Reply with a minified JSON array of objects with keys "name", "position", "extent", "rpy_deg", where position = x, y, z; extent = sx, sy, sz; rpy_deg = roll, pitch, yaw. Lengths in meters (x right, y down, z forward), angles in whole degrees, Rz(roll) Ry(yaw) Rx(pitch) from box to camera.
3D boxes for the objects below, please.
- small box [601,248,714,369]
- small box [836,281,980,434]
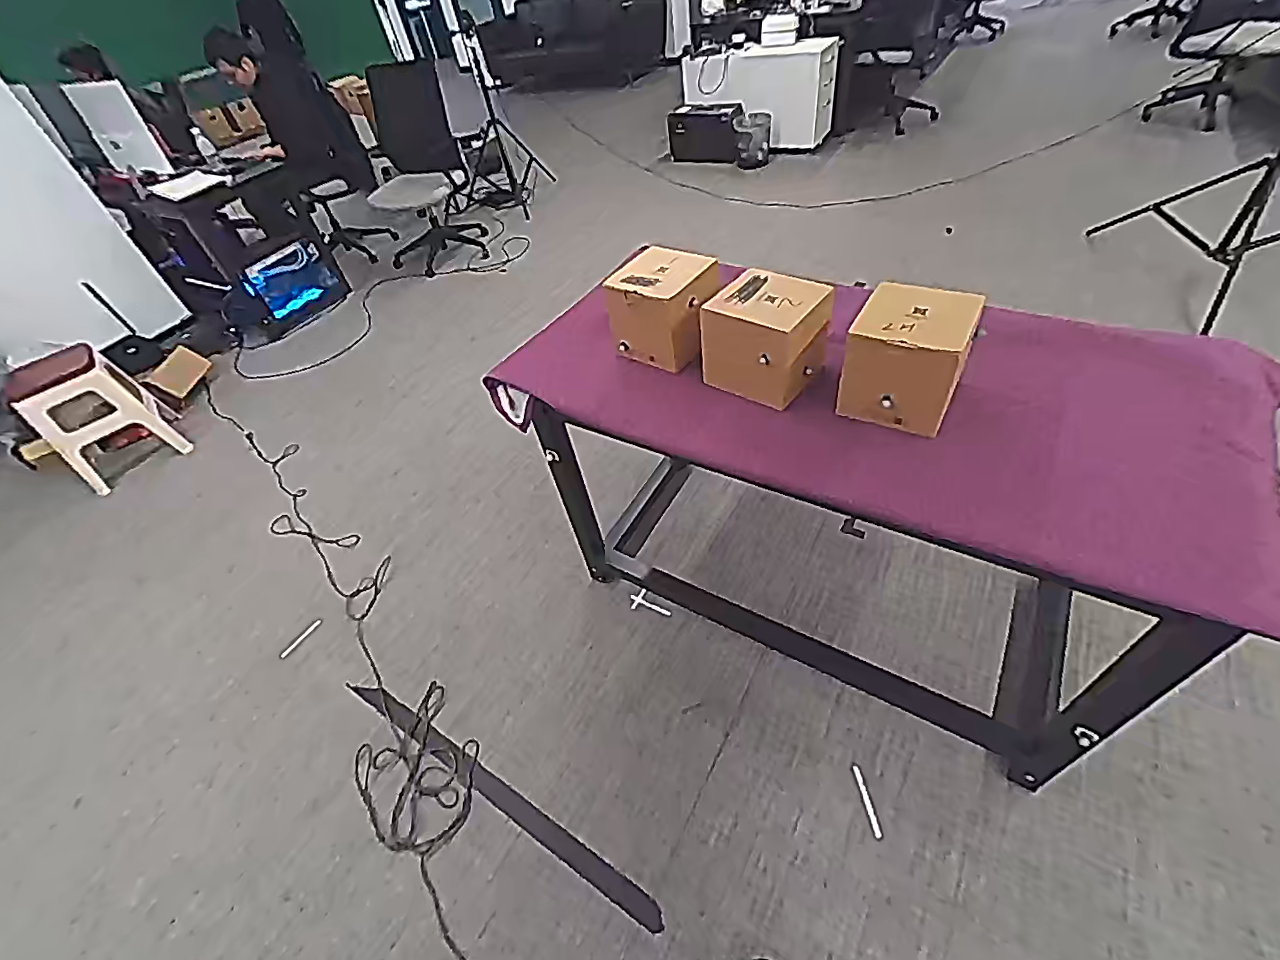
[{"name":"small box","position":[0.047,-0.358,1.133],"extent":[0.168,0.176,0.179],"rpy_deg":[25,56,29]},{"name":"small box","position":[0.445,-0.208,0.915],"extent":[0.168,0.176,0.179],"rpy_deg":[20,54,28]}]
